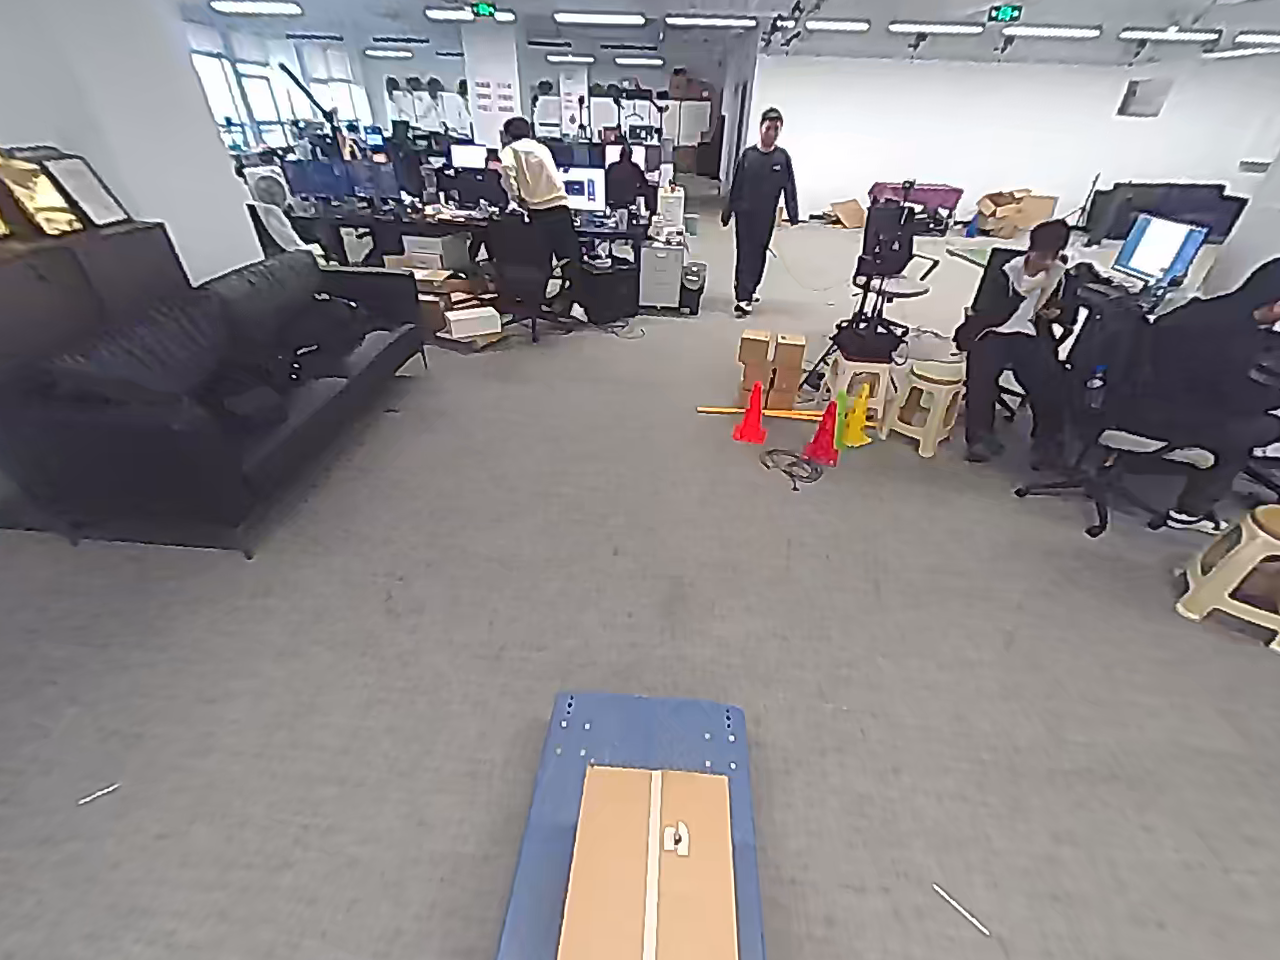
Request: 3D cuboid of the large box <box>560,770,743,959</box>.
[{"bbox_3d":[0.024,0.875,1.094,0.320,0.320,0.408,4,33,2],"label":"large box"}]
